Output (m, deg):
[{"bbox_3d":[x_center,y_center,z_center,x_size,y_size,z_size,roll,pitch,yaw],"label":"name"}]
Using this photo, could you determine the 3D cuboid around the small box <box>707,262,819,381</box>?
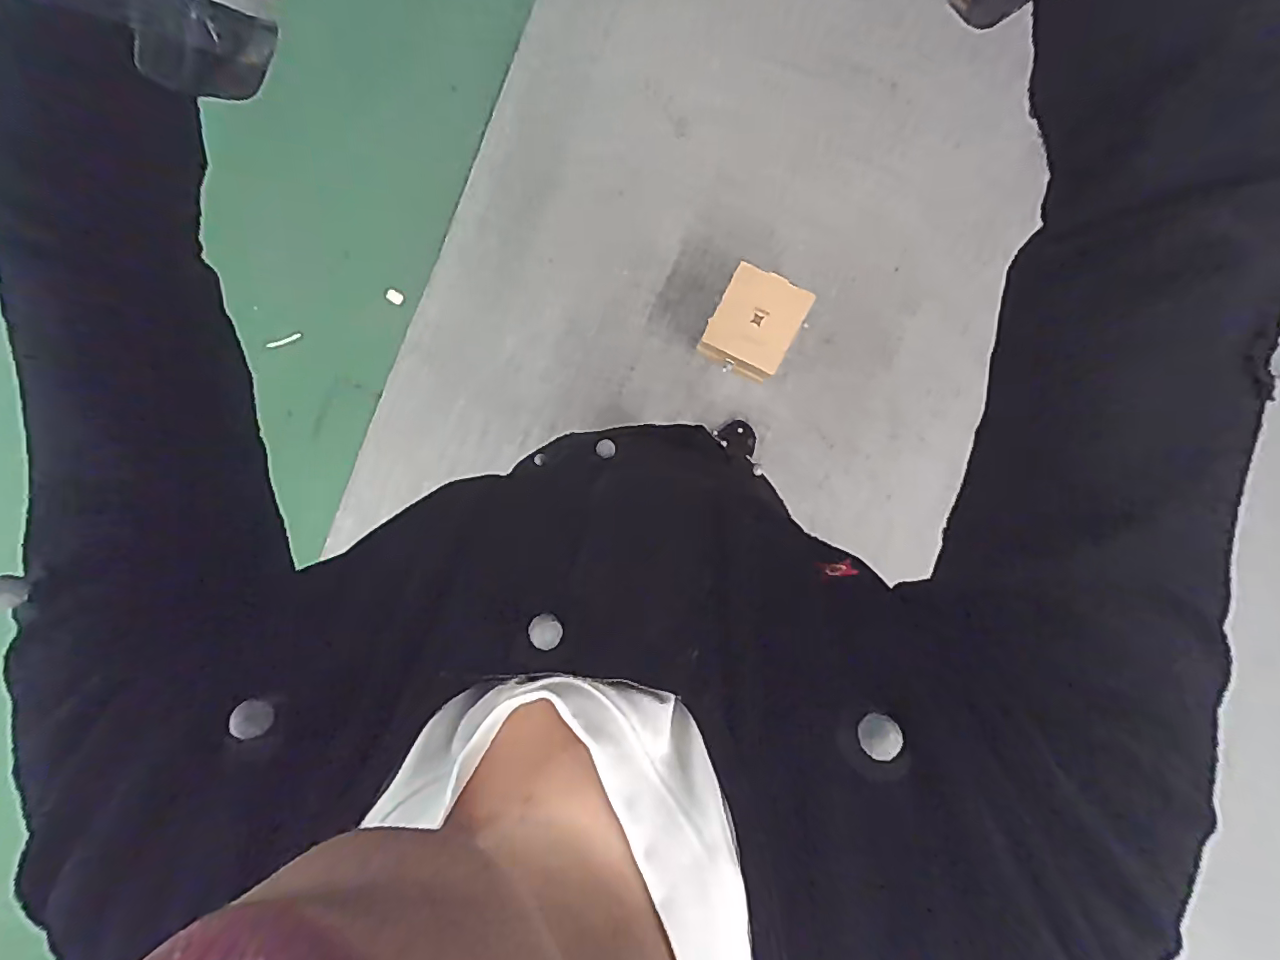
[{"bbox_3d":[0.257,-0.328,1.156,0.168,0.176,0.179,28,100,7],"label":"small box"}]

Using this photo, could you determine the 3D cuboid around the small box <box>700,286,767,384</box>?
[{"bbox_3d":[0.265,-0.343,1.316,0.179,0.176,0.168,28,99,6],"label":"small box"}]
